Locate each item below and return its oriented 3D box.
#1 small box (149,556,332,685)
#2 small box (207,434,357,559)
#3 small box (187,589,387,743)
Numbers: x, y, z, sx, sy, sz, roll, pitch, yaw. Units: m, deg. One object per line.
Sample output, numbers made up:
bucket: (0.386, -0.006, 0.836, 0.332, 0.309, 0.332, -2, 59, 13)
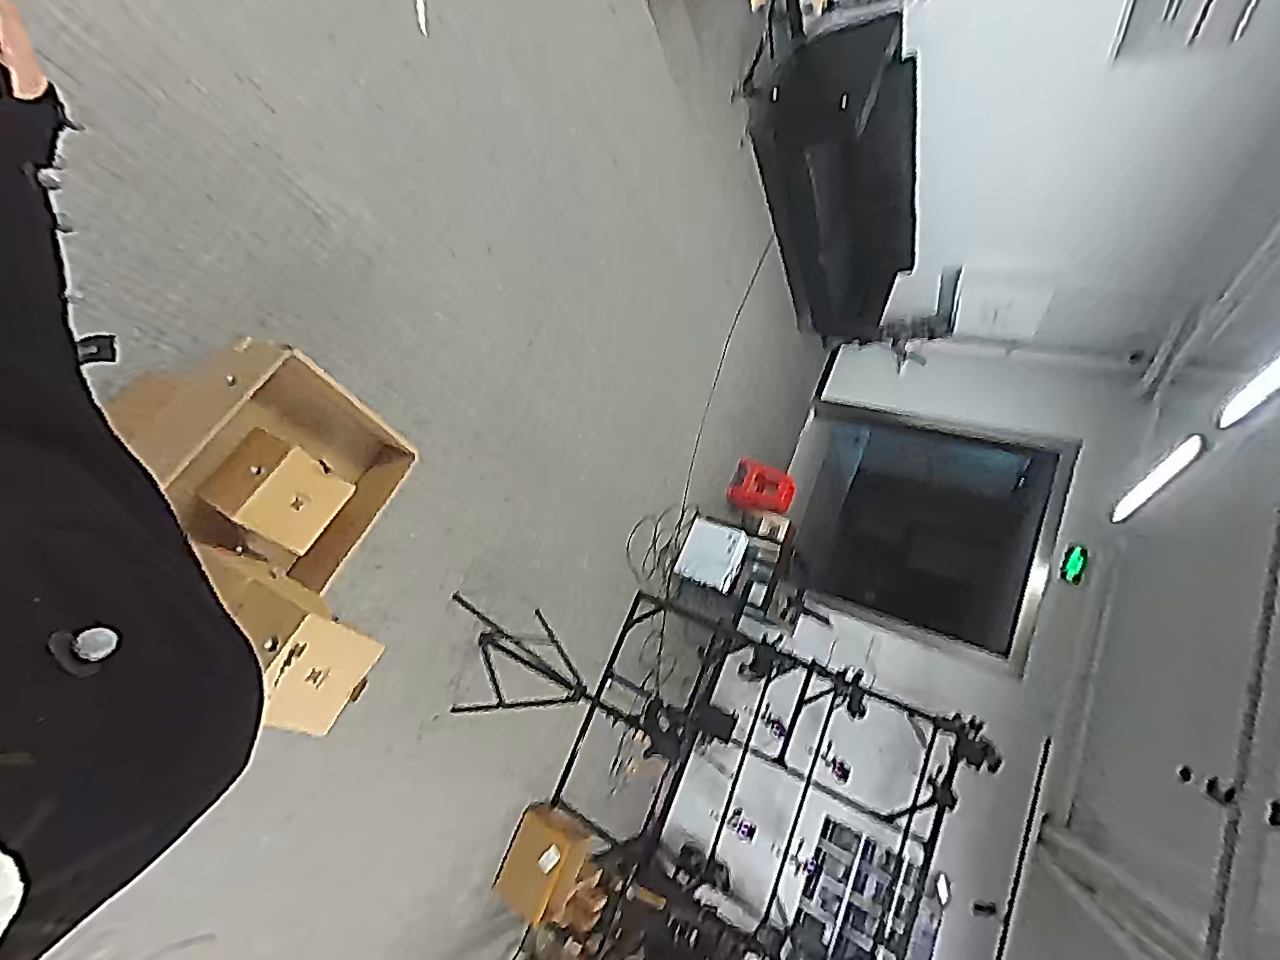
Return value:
small box: (-0.706, 0.255, 0.959, 0.179, 0.176, 0.168, -64, 149, -17)
small box: (-0.742, 0.031, 1.117, 0.179, 0.176, 0.168, -60, 149, -22)
small box: (-0.568, 0.299, 0.882, 0.168, 0.176, 0.179, -61, 149, -23)
